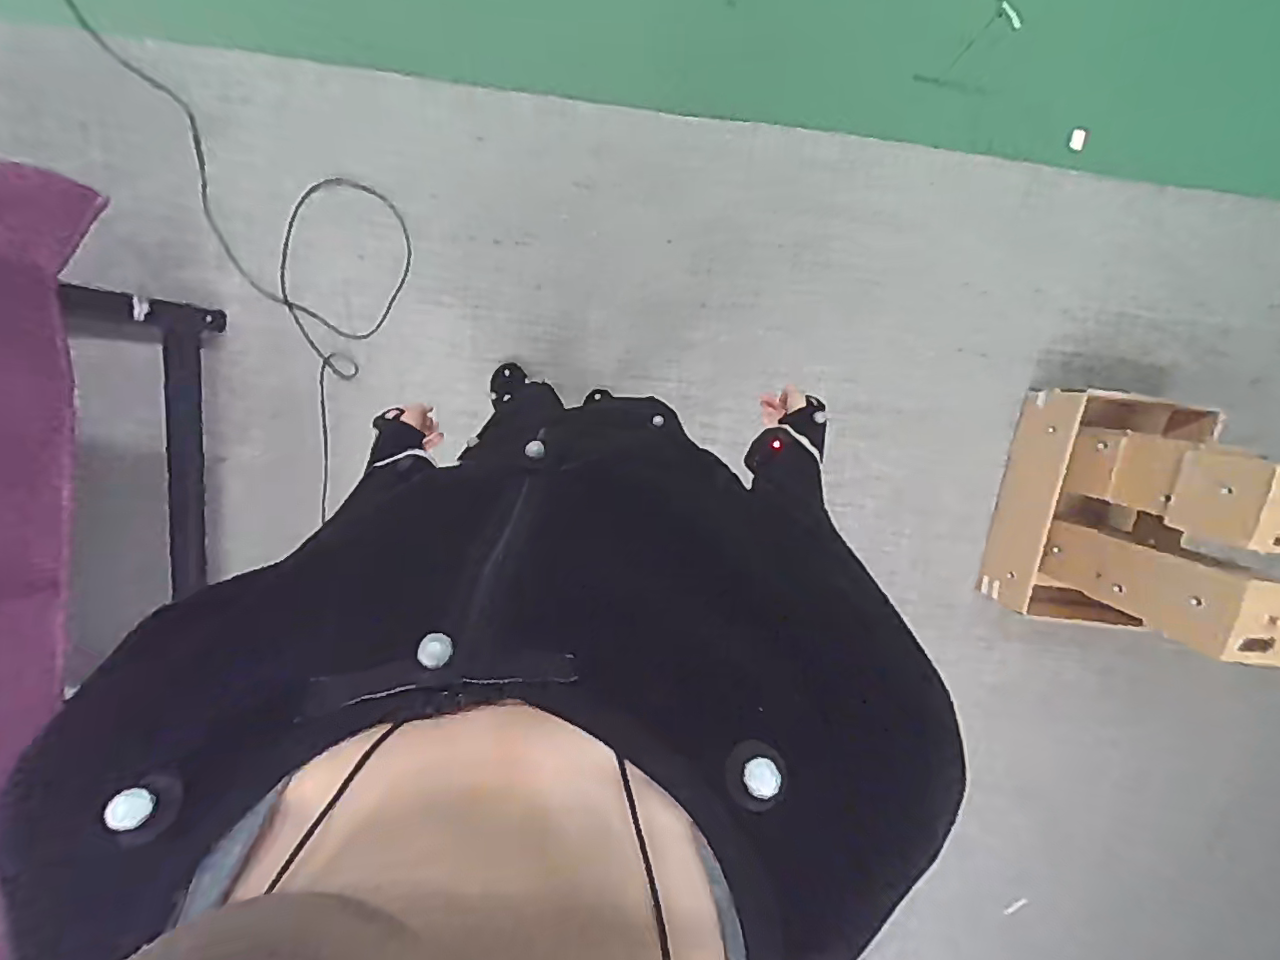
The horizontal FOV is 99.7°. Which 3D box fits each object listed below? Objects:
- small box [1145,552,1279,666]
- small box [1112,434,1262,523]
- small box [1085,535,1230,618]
[{"bbox_3d":[1.251,0.270,1.158,0.168,0.176,0.179,8,98,-4],"label":"small box"},{"bbox_3d":[1.277,-0.010,1.278,0.168,0.176,0.179,5,102,-3],"label":"small box"},{"bbox_3d":[1.248,0.238,1.319,0.179,0.176,0.168,8,99,-4],"label":"small box"}]
